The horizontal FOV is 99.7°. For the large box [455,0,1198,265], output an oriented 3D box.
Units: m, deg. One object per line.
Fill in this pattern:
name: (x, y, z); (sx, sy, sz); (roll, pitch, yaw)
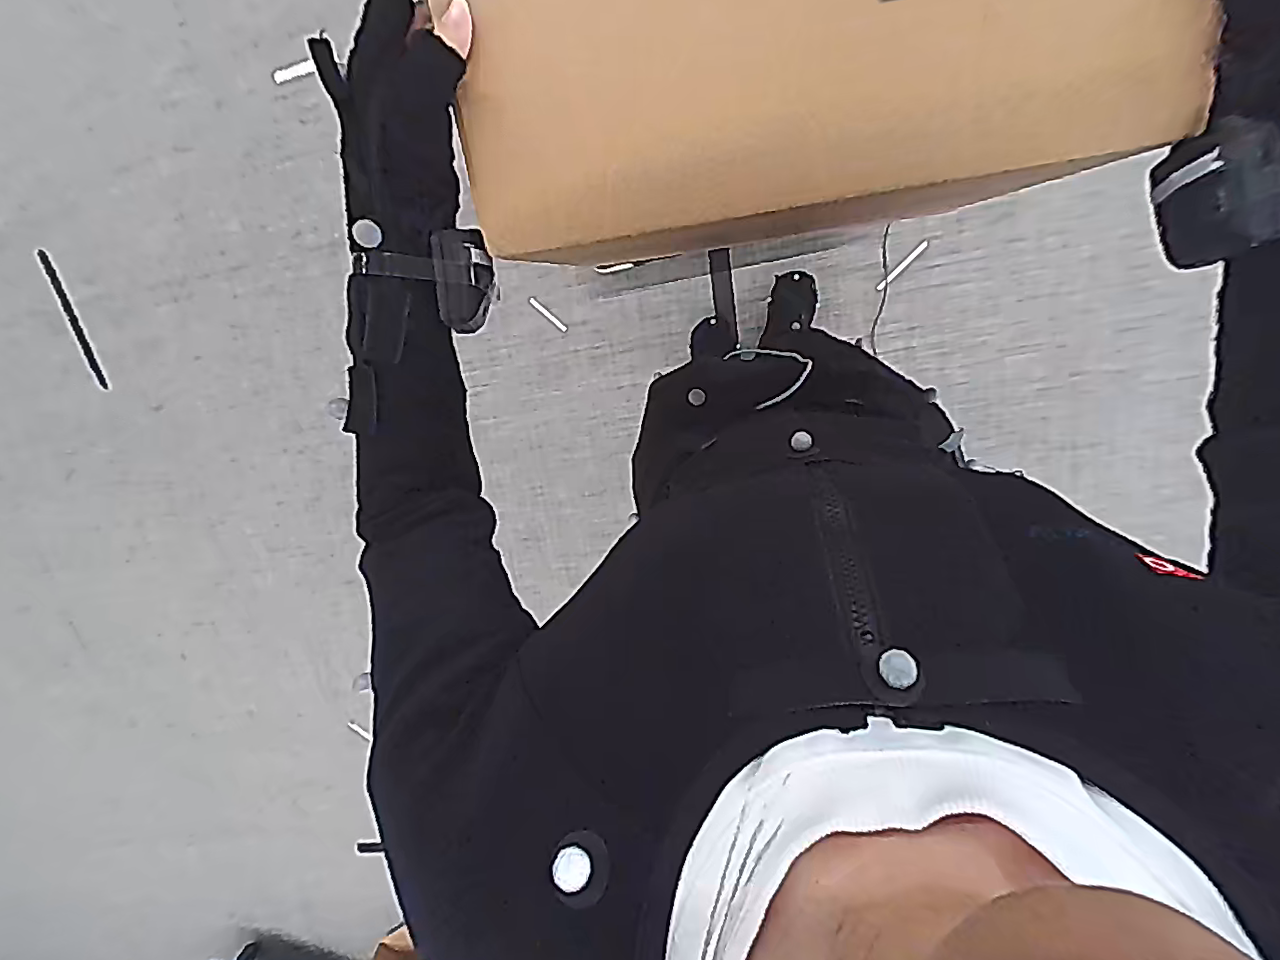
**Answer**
large box: (0.097, -0.369, 0.422); (0.408, 0.320, 0.320); (-6, 110, 9)
